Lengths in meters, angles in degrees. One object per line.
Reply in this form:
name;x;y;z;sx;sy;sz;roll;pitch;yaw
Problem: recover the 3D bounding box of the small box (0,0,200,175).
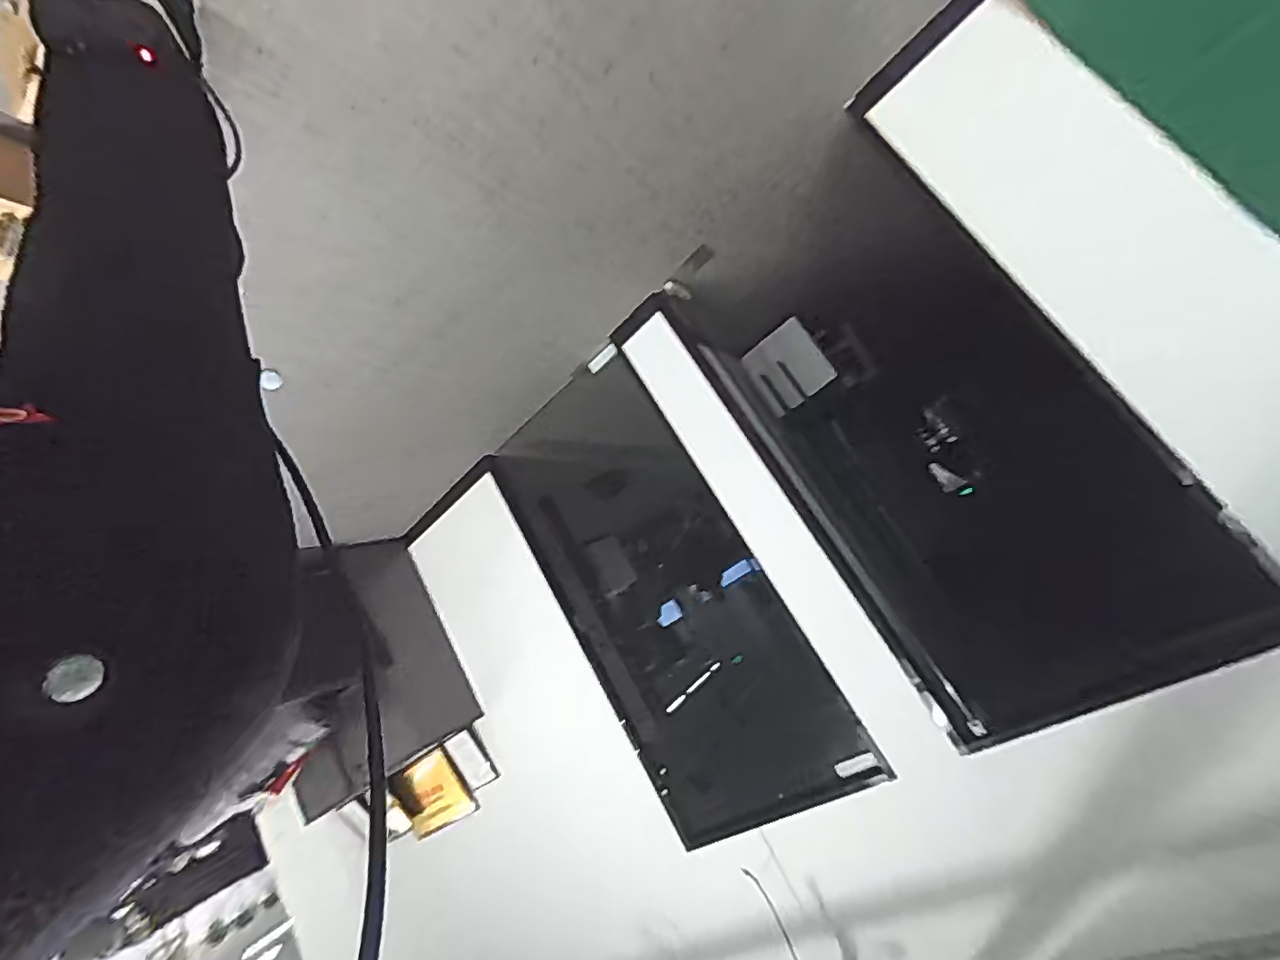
small box;-0.809;-0.609;0.800;0.168;0.176;0.179;-39;165;25
